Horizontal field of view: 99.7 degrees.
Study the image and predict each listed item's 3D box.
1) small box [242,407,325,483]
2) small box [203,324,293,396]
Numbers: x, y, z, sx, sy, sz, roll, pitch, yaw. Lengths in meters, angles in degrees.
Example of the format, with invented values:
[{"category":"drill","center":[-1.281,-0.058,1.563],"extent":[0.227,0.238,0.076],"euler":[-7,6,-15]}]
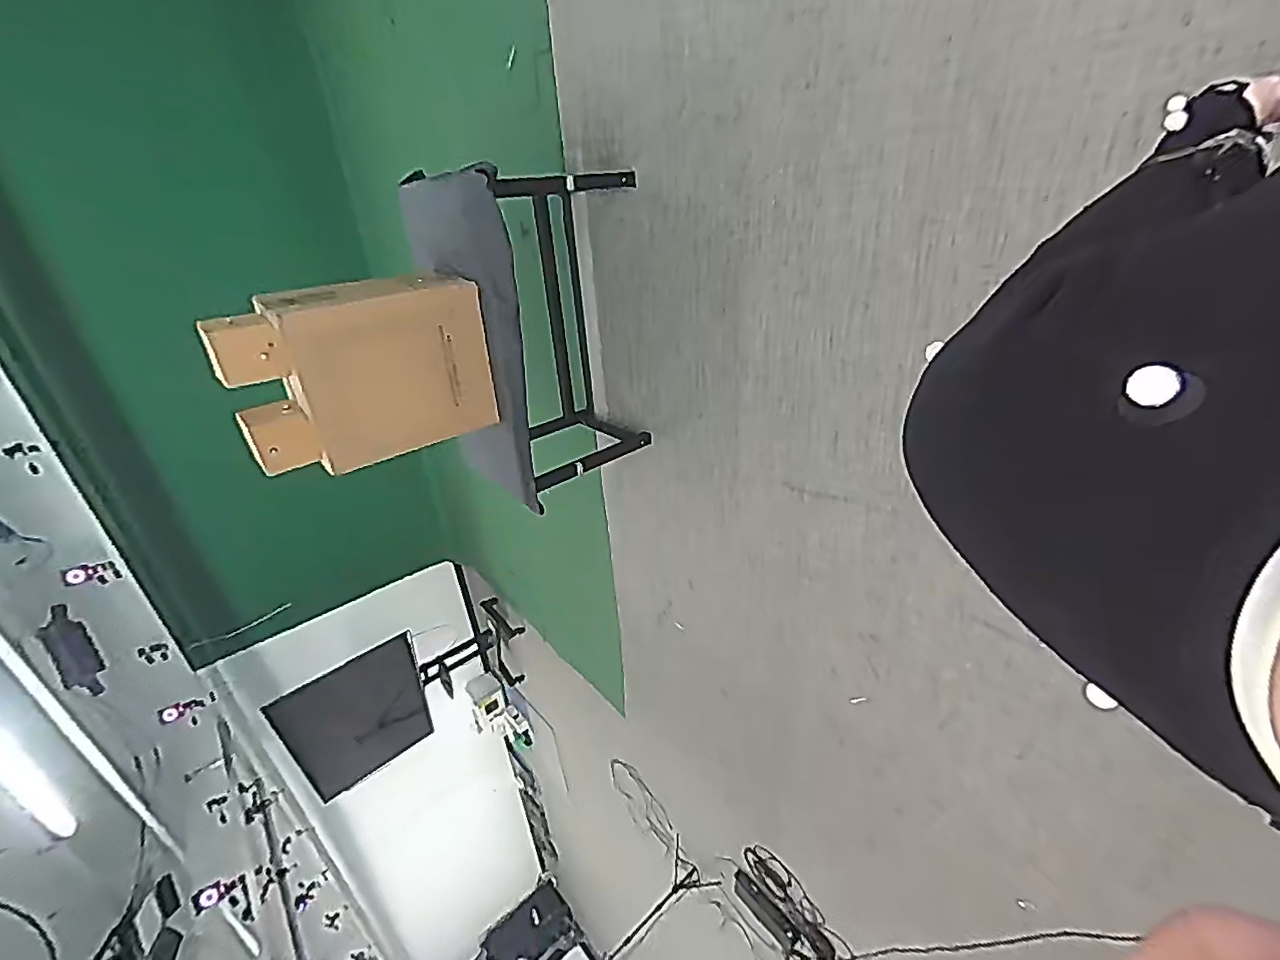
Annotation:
[{"category":"small box","center":[-1.171,-0.120,1.787],"extent":[0.168,0.176,0.179],"euler":[27,130,39]},{"category":"small box","center":[-1.191,-0.372,1.650],"extent":[0.179,0.176,0.168],"euler":[27,130,39]}]
